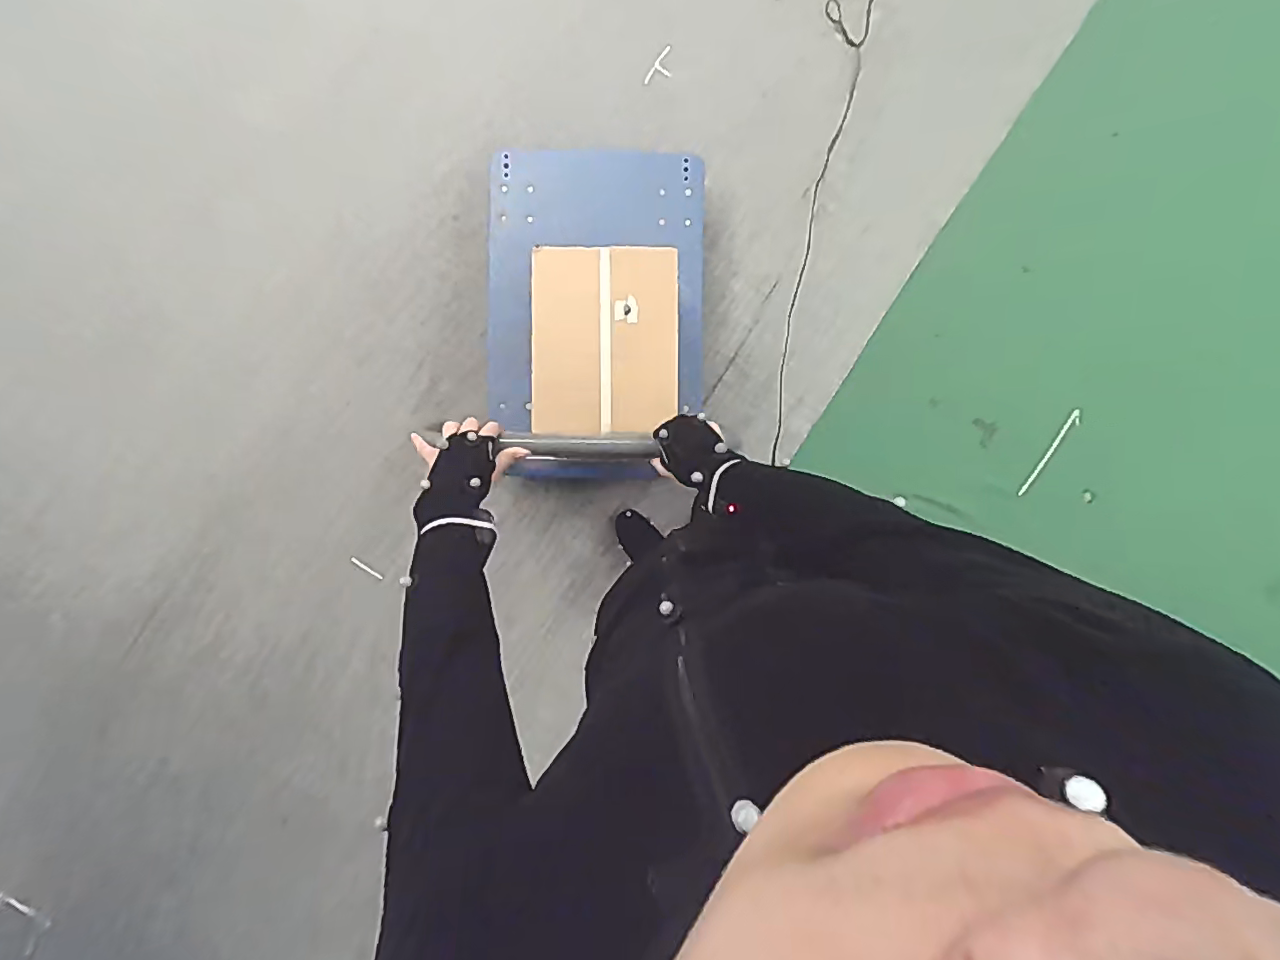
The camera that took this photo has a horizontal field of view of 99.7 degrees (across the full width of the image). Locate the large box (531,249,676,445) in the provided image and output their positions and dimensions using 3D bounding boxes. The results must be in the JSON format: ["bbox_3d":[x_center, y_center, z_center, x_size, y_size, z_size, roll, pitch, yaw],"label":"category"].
[{"bbox_3d":[-0.081,-0.297,1.316,0.320,0.320,0.408,0,89,-2],"label":"large box"}]
